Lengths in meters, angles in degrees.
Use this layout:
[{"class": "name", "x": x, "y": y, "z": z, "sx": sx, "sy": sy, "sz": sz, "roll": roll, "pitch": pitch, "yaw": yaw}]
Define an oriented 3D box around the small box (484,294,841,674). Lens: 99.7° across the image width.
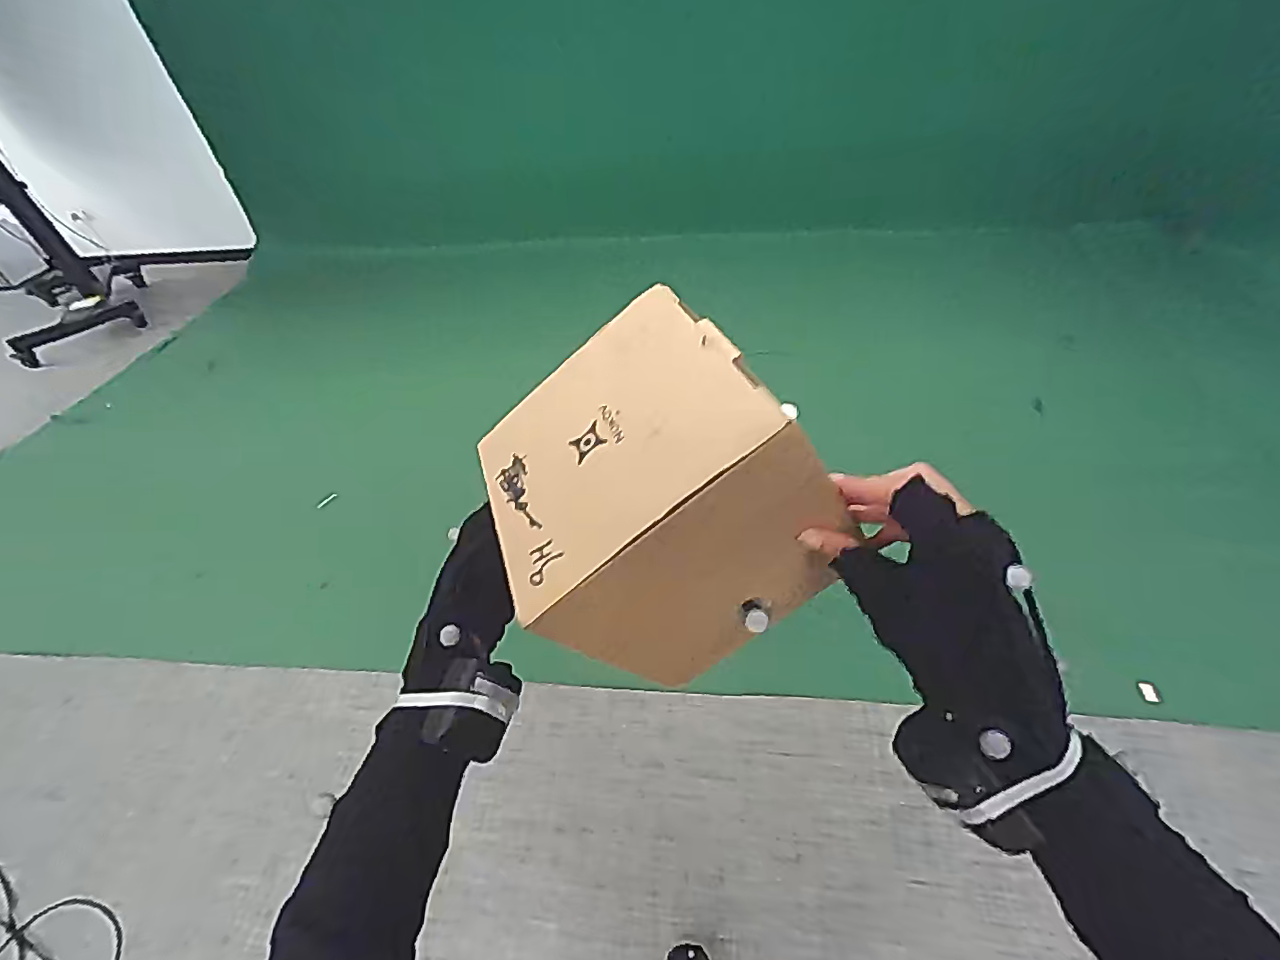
[{"class": "small box", "x": 0.021, "y": 0.011, "z": 0.390, "sx": 0.179, "sy": 0.176, "sz": 0.168, "roll": -39, "pitch": 46, "yaw": 9}]
